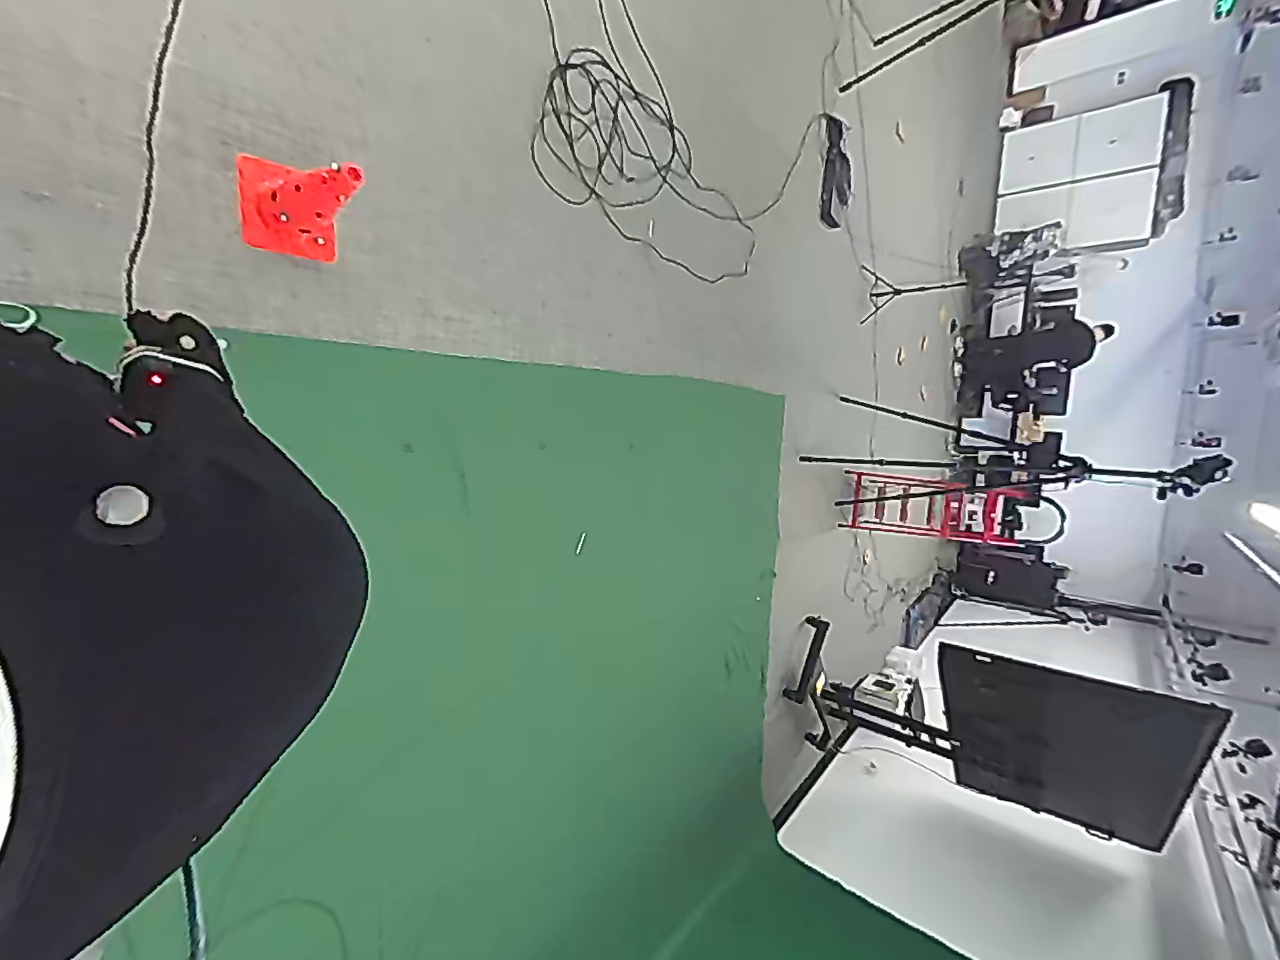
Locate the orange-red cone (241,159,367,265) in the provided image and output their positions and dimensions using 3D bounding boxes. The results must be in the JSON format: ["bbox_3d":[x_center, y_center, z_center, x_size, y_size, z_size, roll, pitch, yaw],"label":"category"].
[{"bbox_3d":[-0.695,-0.616,1.178,0.198,0.360,0.199,-7,100,-51],"label":"orange-red cone"}]
